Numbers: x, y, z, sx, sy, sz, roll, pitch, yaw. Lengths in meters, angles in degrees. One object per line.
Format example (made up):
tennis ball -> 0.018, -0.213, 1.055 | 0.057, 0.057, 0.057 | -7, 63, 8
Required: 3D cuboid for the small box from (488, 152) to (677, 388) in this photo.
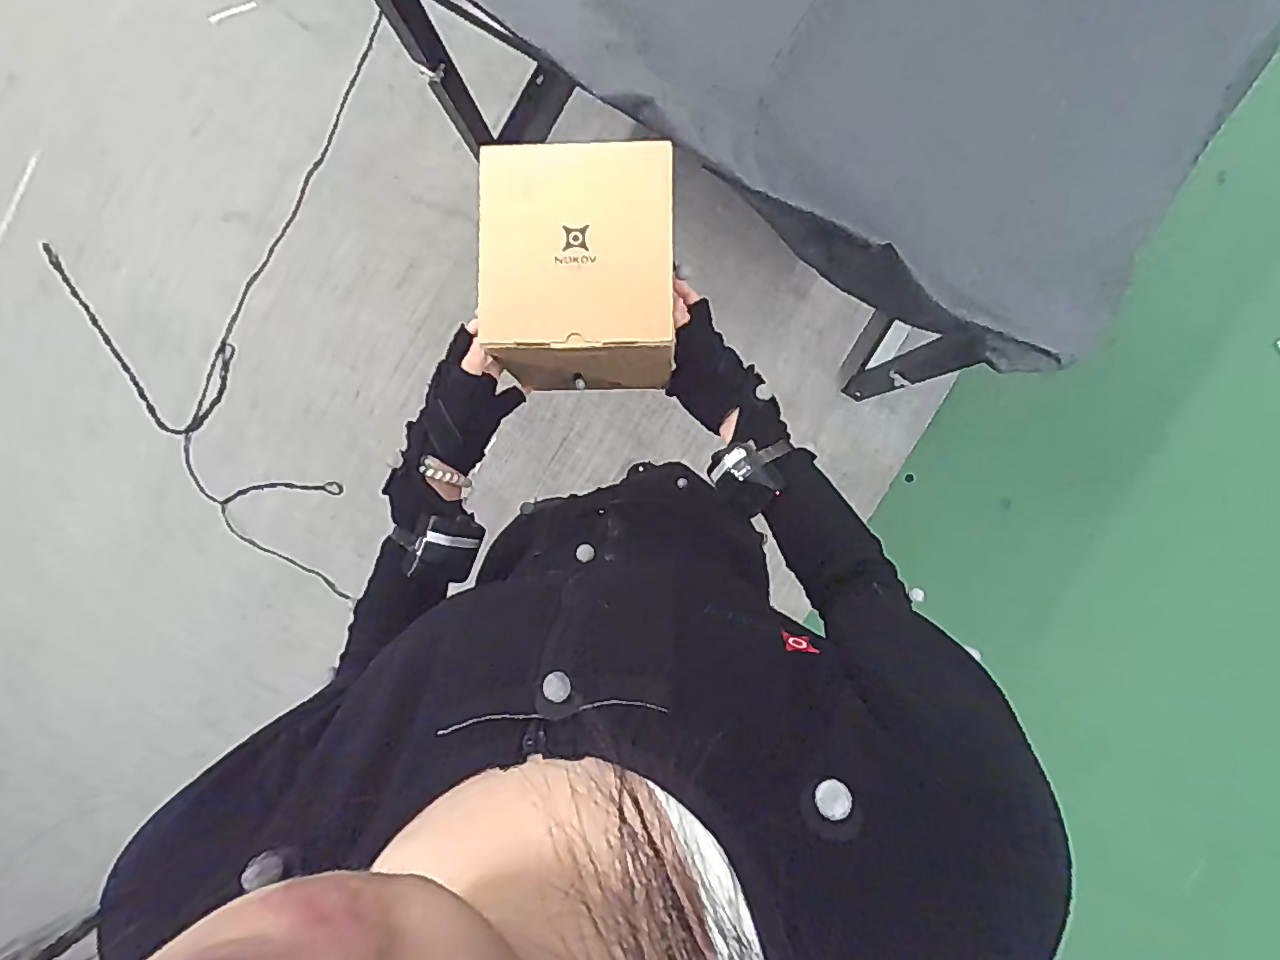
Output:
small box -> -0.049, -0.198, 0.551 | 0.168, 0.176, 0.179 | 0, 88, 2
